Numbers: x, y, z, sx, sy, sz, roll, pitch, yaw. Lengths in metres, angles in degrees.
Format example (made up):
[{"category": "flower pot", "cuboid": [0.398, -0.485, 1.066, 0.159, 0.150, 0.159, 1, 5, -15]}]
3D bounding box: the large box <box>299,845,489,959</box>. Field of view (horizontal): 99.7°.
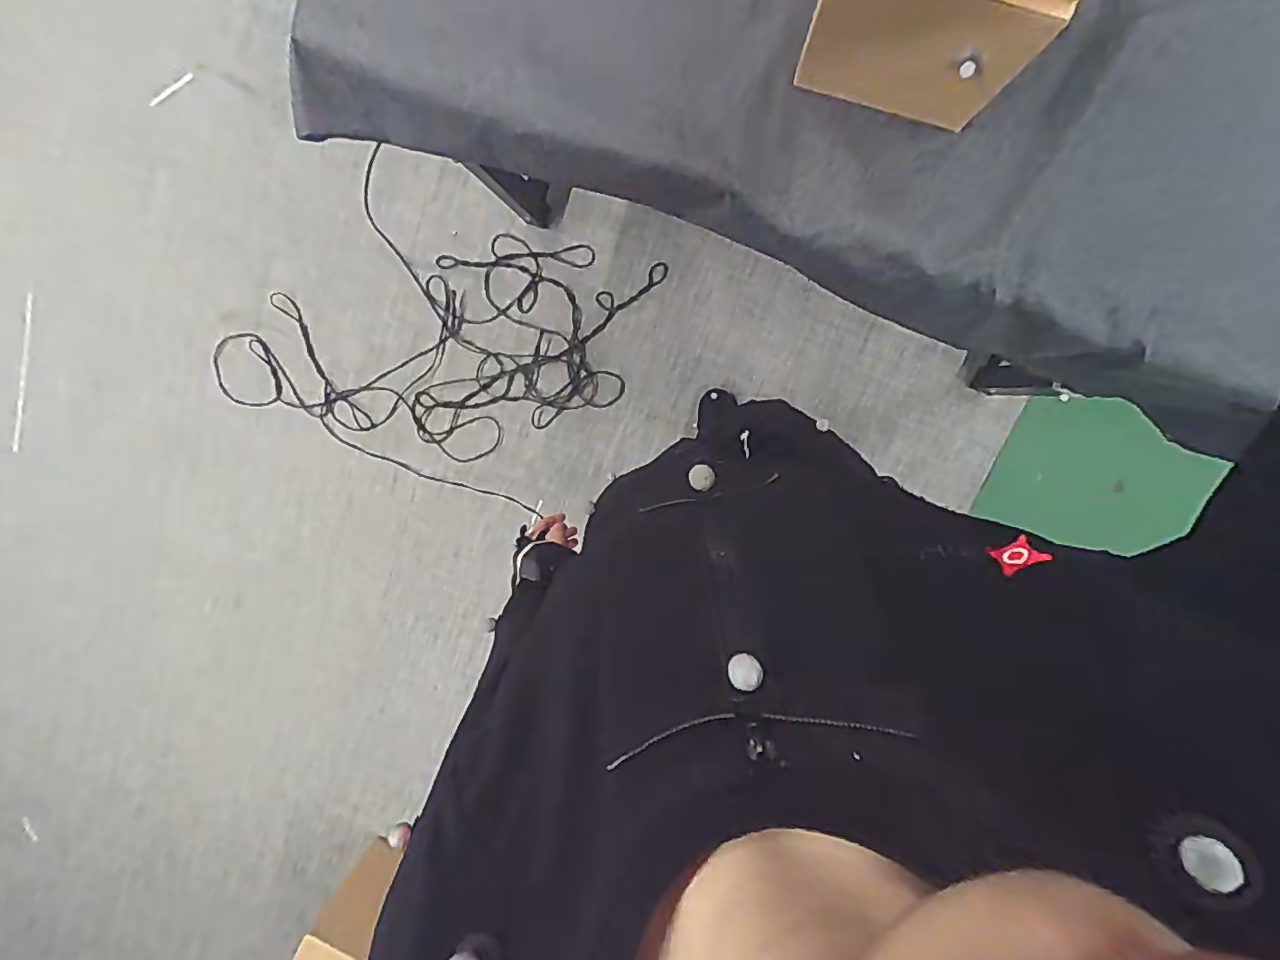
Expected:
[{"category": "large box", "cuboid": [-0.713, 1.364, 1.543, 0.408, 0.320, 0.320, 28, 101, 3]}]
